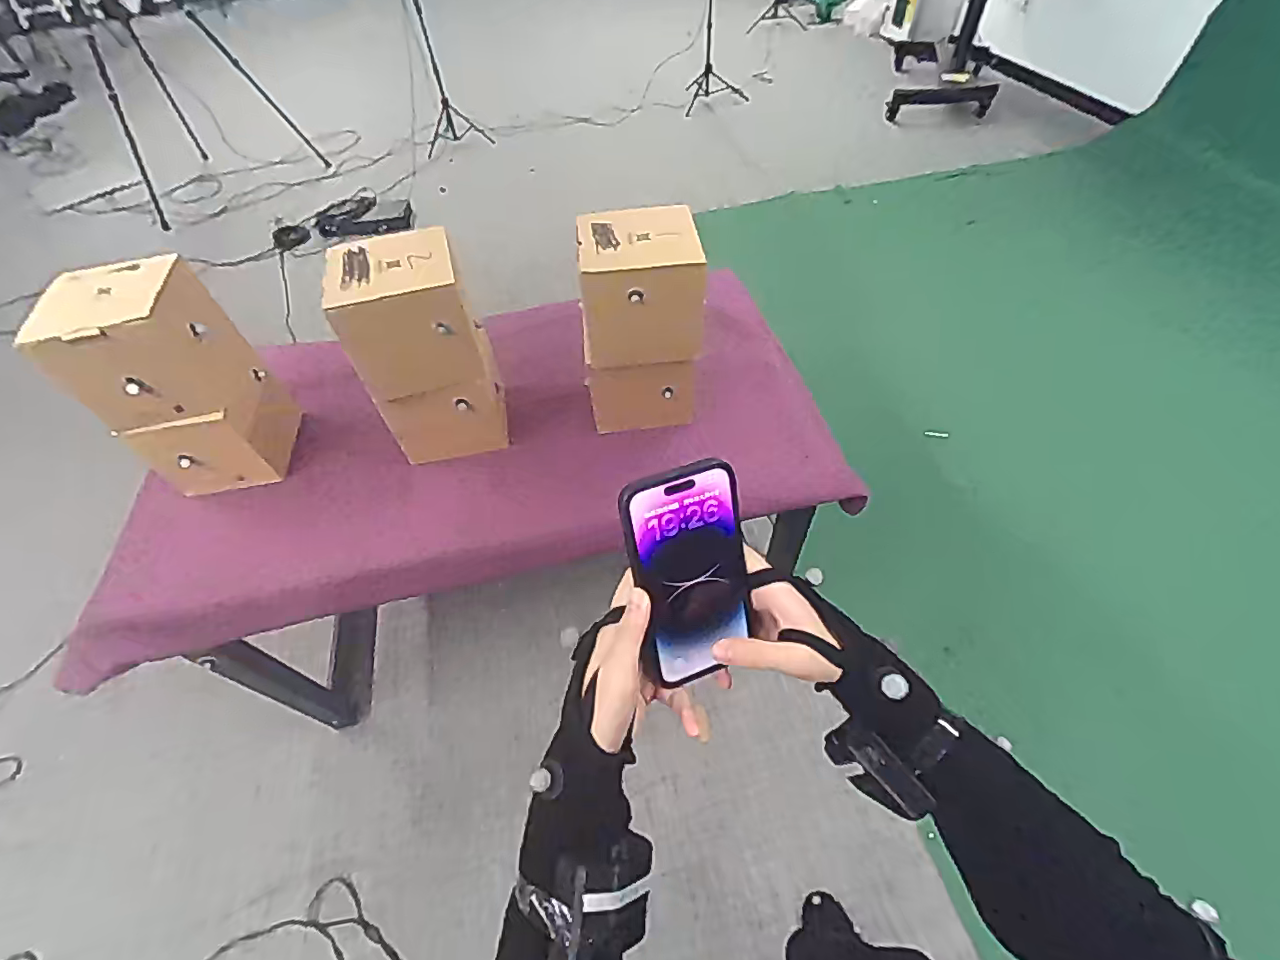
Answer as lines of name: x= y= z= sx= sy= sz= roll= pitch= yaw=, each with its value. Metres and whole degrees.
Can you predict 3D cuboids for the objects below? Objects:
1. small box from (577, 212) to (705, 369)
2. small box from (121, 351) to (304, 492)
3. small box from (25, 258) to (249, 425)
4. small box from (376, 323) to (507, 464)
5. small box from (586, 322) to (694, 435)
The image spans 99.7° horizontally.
small box: x=0.002 y=-0.289 z=0.839 sx=0.179 sy=0.176 sz=0.168 roll=-5 pitch=52 yaw=-1
small box: x=-0.724 y=-0.095 z=0.944 sx=0.168 sy=0.176 sz=0.179 roll=-10 pitch=52 yaw=-4
small box: x=-0.735 y=-0.202 z=0.820 sx=0.168 sy=0.176 sz=0.179 roll=-14 pitch=53 yaw=-8
small box: x=-0.337 y=-0.149 z=0.959 sx=0.179 sy=0.176 sz=0.168 roll=-10 pitch=52 yaw=-4
small box: x=0.000 y=-0.199 z=0.977 sx=0.179 sy=0.176 sz=0.168 roll=-6 pitch=52 yaw=0
